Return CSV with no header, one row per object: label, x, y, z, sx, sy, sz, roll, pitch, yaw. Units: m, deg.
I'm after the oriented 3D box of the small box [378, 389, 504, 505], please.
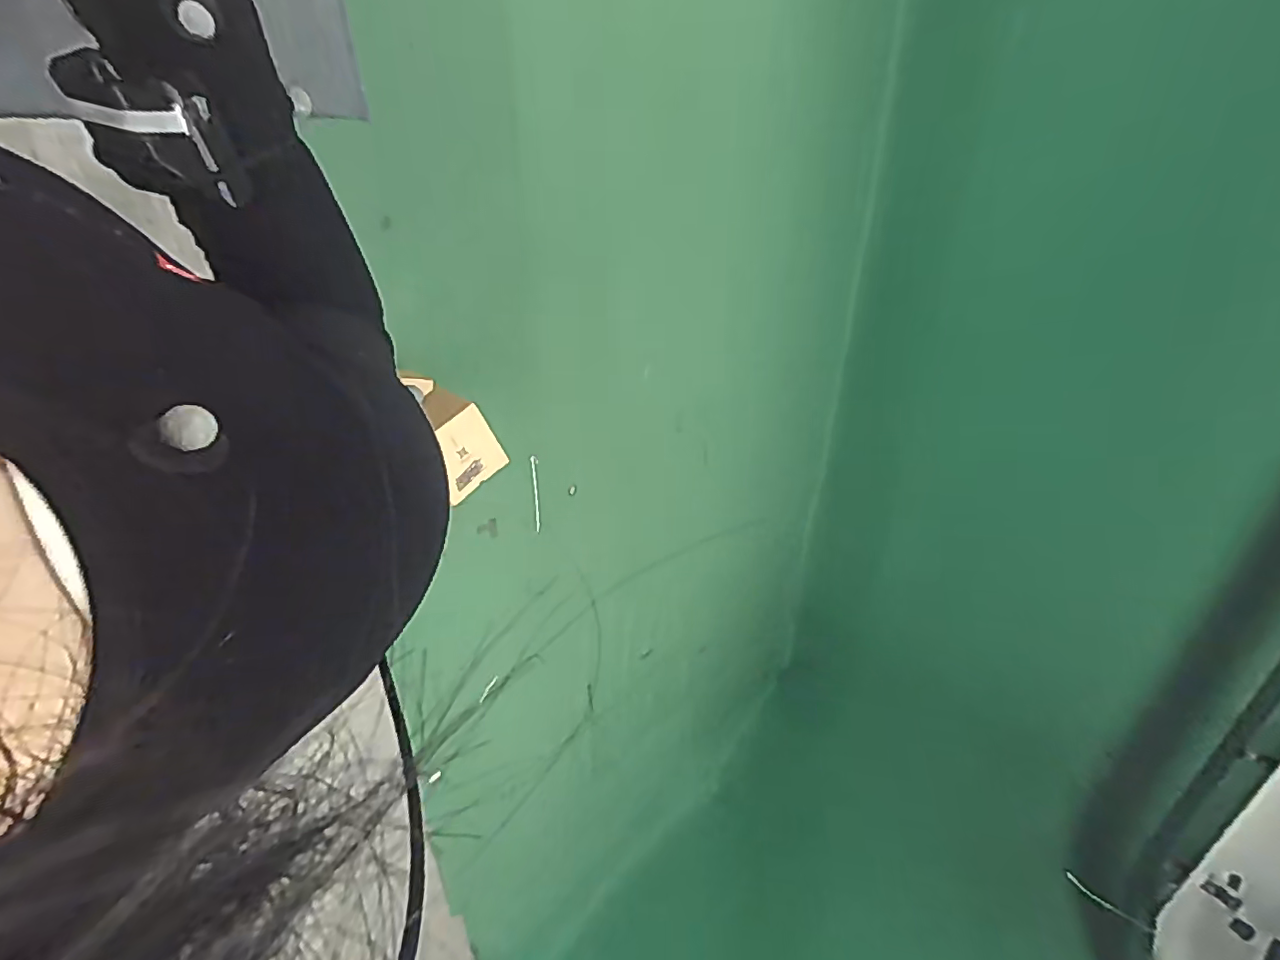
small box,-0.446,-0.080,1.214,0.168,0.176,0.179,-44,136,-24
